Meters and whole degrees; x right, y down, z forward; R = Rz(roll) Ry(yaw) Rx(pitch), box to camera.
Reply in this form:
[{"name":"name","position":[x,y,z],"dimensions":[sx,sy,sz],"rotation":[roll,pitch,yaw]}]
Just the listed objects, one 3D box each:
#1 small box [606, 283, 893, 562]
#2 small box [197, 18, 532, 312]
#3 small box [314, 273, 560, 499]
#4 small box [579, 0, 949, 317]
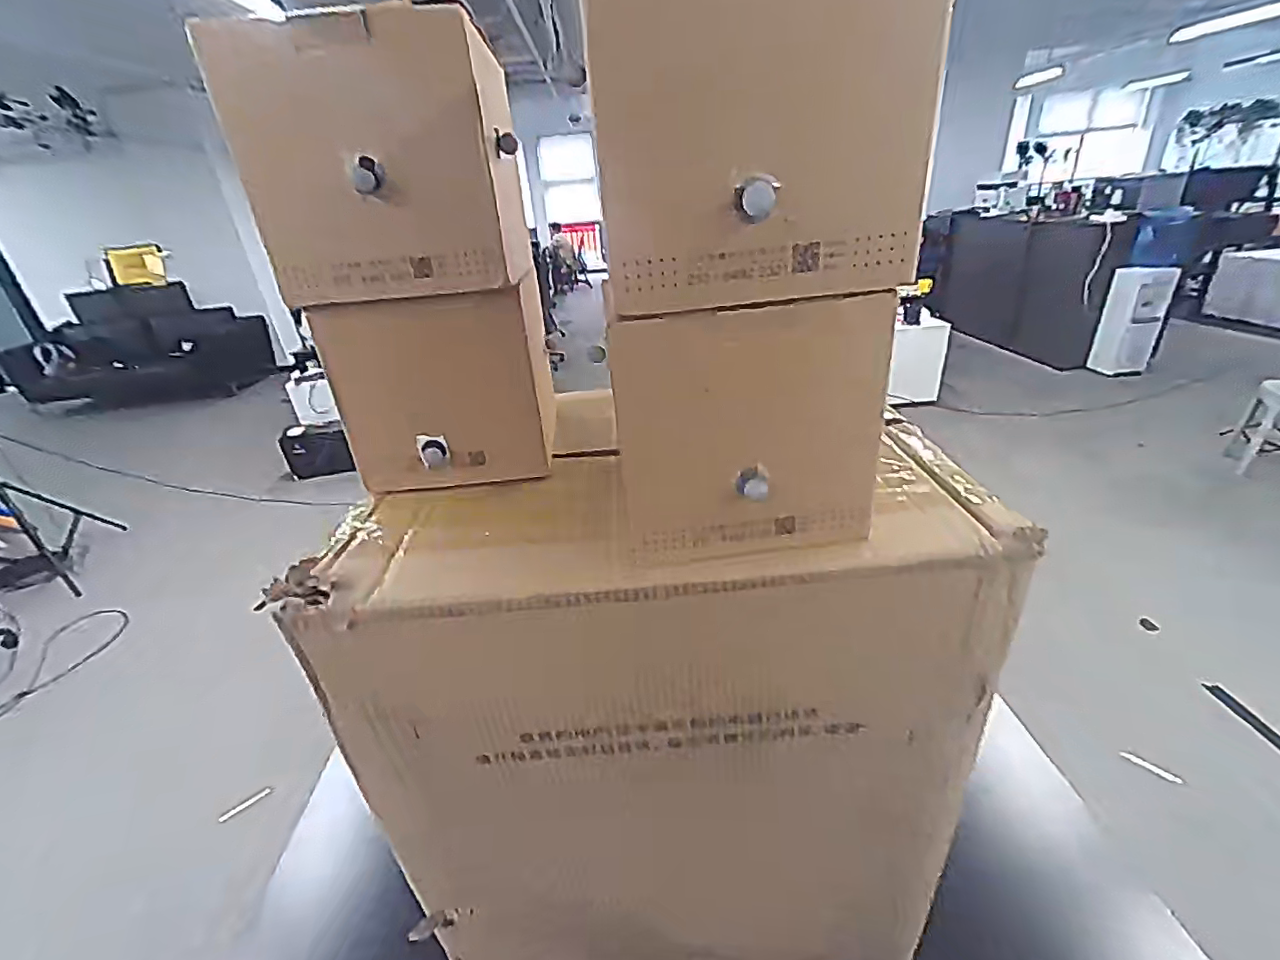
[{"name":"small box","position":[0.064,-0.060,0.412],"dimensions":[0.168,0.176,0.179],"rotation":[-7,28,-1]},{"name":"small box","position":[-0.188,-0.237,0.439],"dimensions":[0.168,0.176,0.179],"rotation":[-6,28,-2]},{"name":"small box","position":[-0.173,-0.099,0.527],"dimensions":[0.168,0.176,0.179],"rotation":[-8,28,-4]},{"name":"small box","position":[0.054,-0.203,0.332],"dimensions":[0.168,0.176,0.179],"rotation":[-7,28,0]}]
